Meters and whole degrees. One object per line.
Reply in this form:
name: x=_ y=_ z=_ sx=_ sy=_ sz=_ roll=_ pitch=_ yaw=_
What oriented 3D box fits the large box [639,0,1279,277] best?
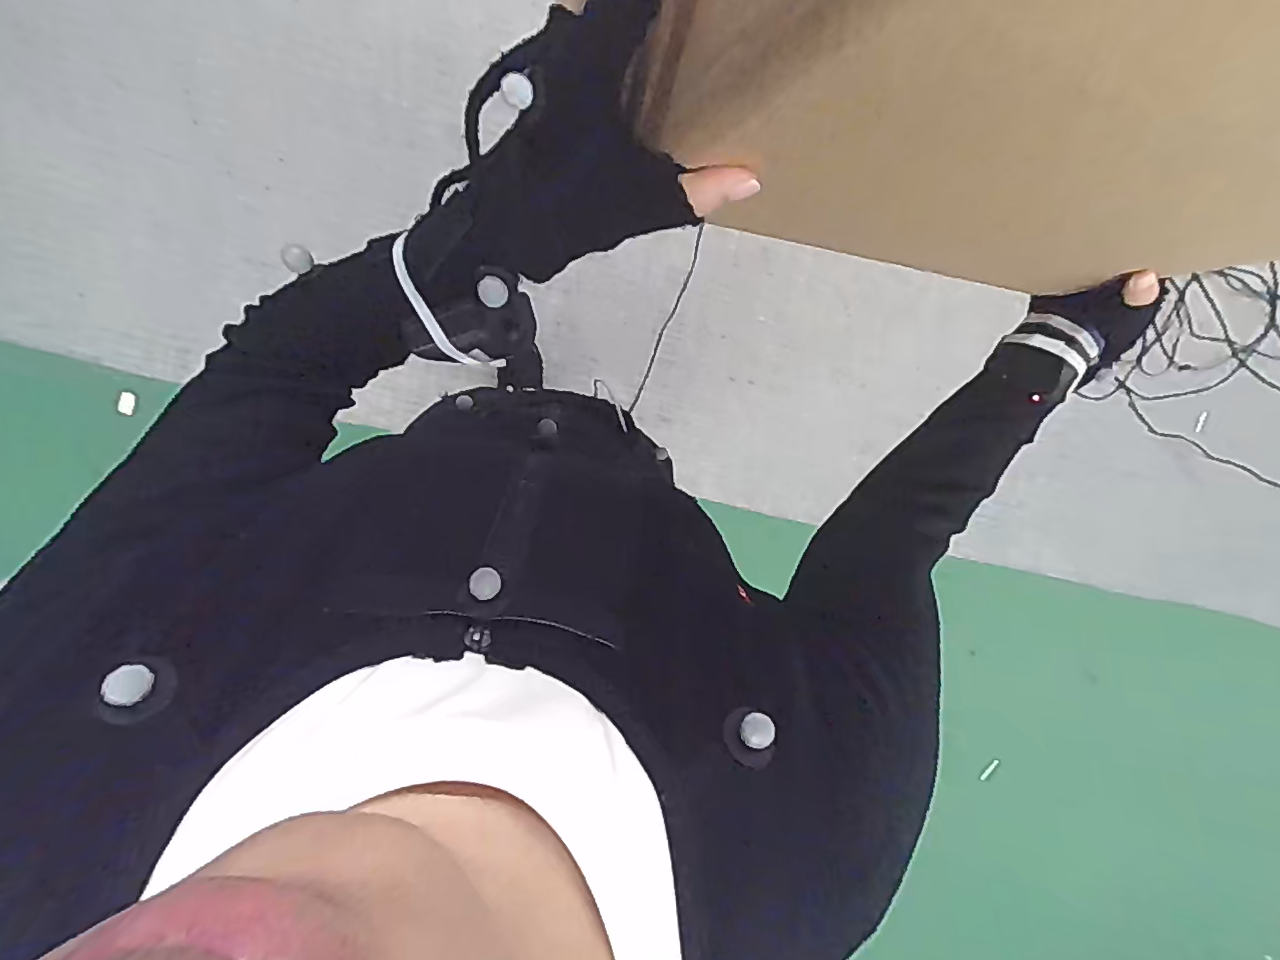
large box: x=0.241 y=-0.292 z=0.218 sx=0.408 sy=0.320 sz=0.320 roll=-3 pitch=99 yaw=-28
